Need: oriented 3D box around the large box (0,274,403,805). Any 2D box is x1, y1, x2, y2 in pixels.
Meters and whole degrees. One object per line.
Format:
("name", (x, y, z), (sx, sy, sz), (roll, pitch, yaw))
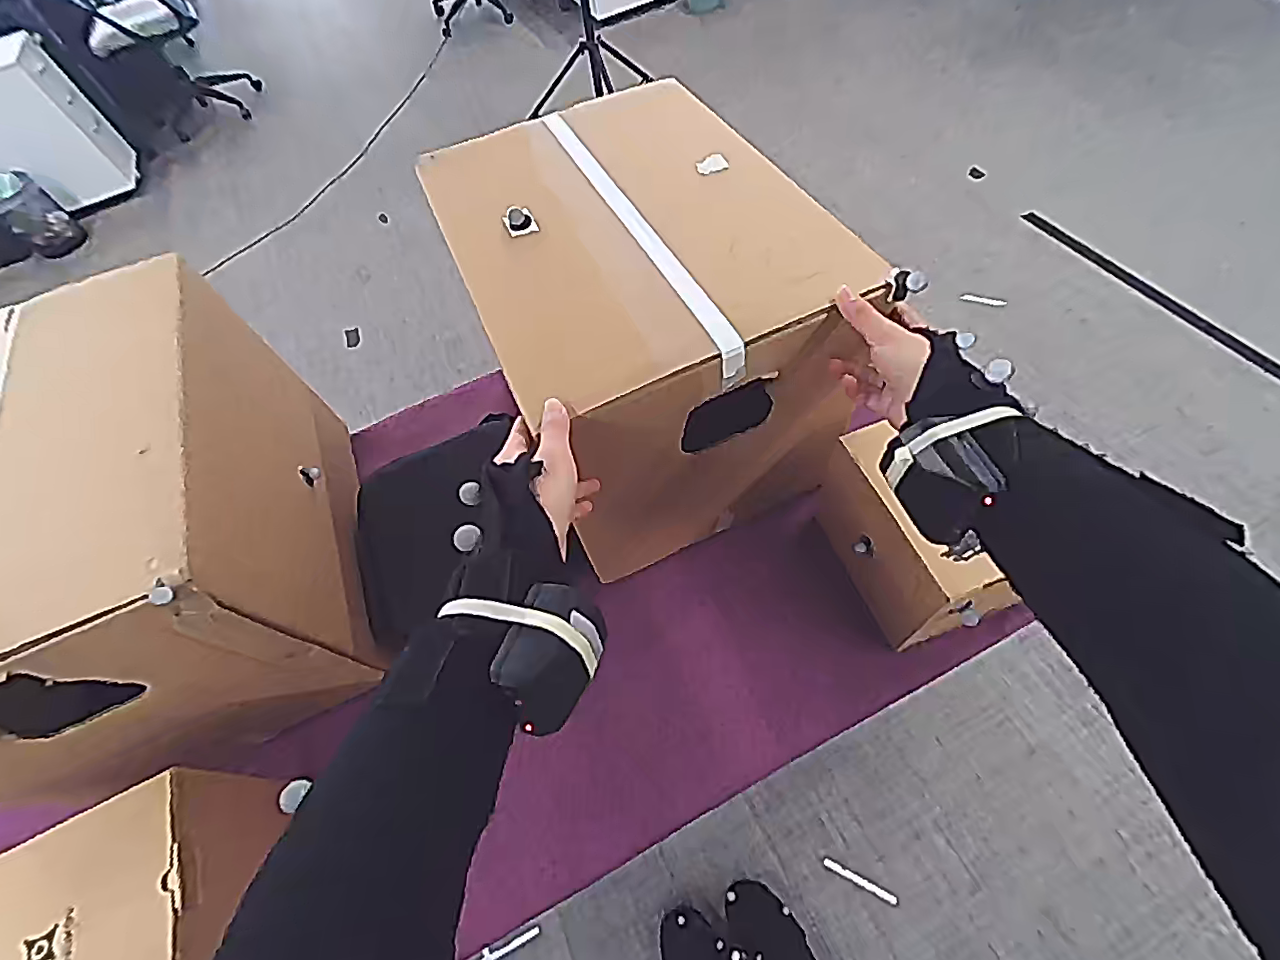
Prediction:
("large box", (-0.511, 0.068, 0.582), (0.320, 0.320, 0.408), (-26, 62, -7))
